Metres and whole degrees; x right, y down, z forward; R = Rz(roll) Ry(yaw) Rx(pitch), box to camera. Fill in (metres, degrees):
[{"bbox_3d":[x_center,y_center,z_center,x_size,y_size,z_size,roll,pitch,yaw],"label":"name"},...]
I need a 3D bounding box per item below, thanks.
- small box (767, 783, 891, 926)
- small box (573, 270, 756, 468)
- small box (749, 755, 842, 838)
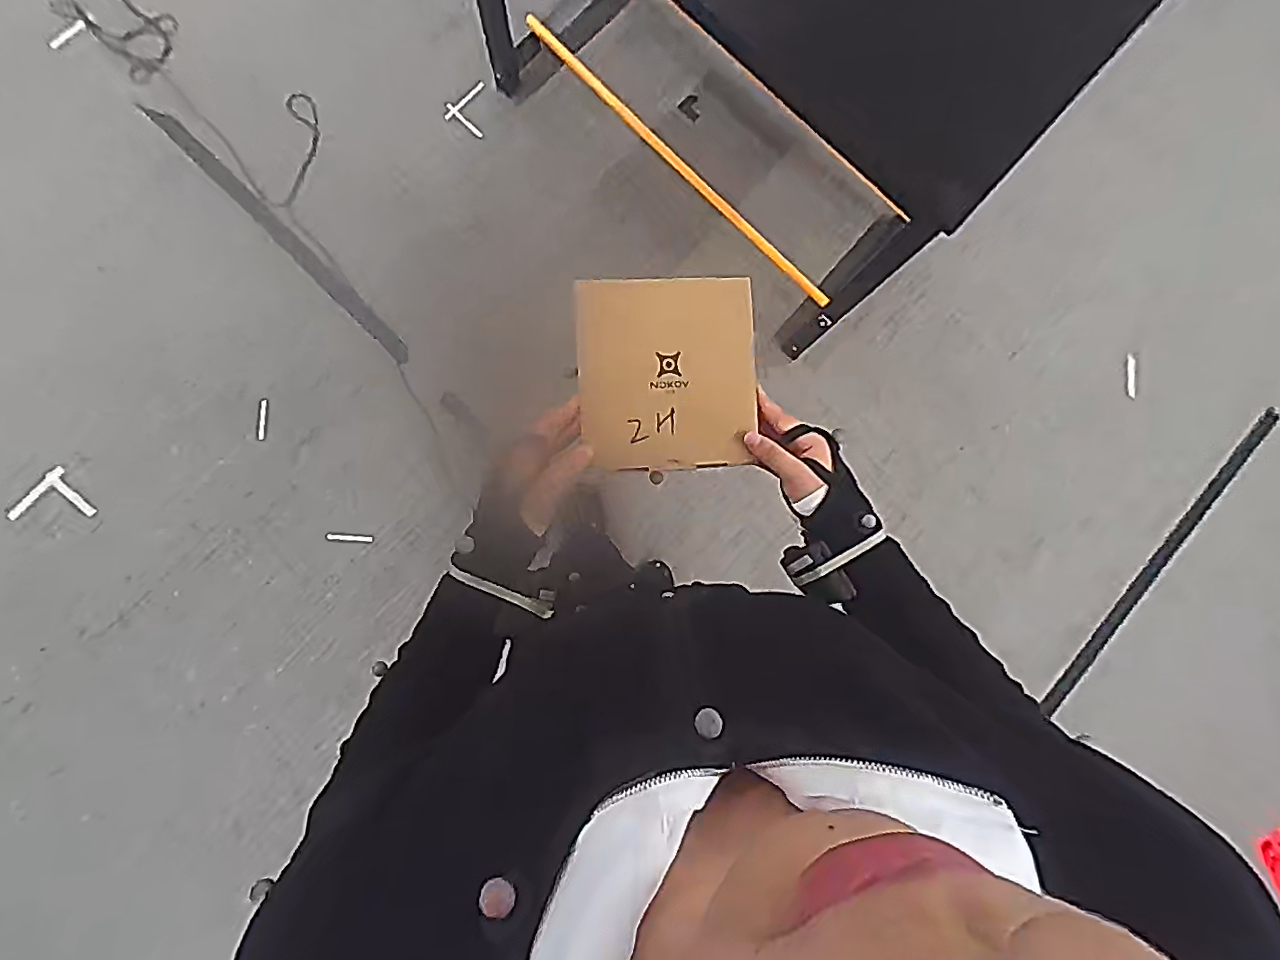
[{"bbox_3d":[0.425,0.845,1.243,0.179,0.176,0.168,41,83,1],"label":"small box"},{"bbox_3d":[0.014,-0.105,0.574,0.168,0.176,0.179,-4,92,-6],"label":"small box"},{"bbox_3d":[0.409,0.861,1.404,0.179,0.176,0.168,-44,89,-5],"label":"small box"}]
